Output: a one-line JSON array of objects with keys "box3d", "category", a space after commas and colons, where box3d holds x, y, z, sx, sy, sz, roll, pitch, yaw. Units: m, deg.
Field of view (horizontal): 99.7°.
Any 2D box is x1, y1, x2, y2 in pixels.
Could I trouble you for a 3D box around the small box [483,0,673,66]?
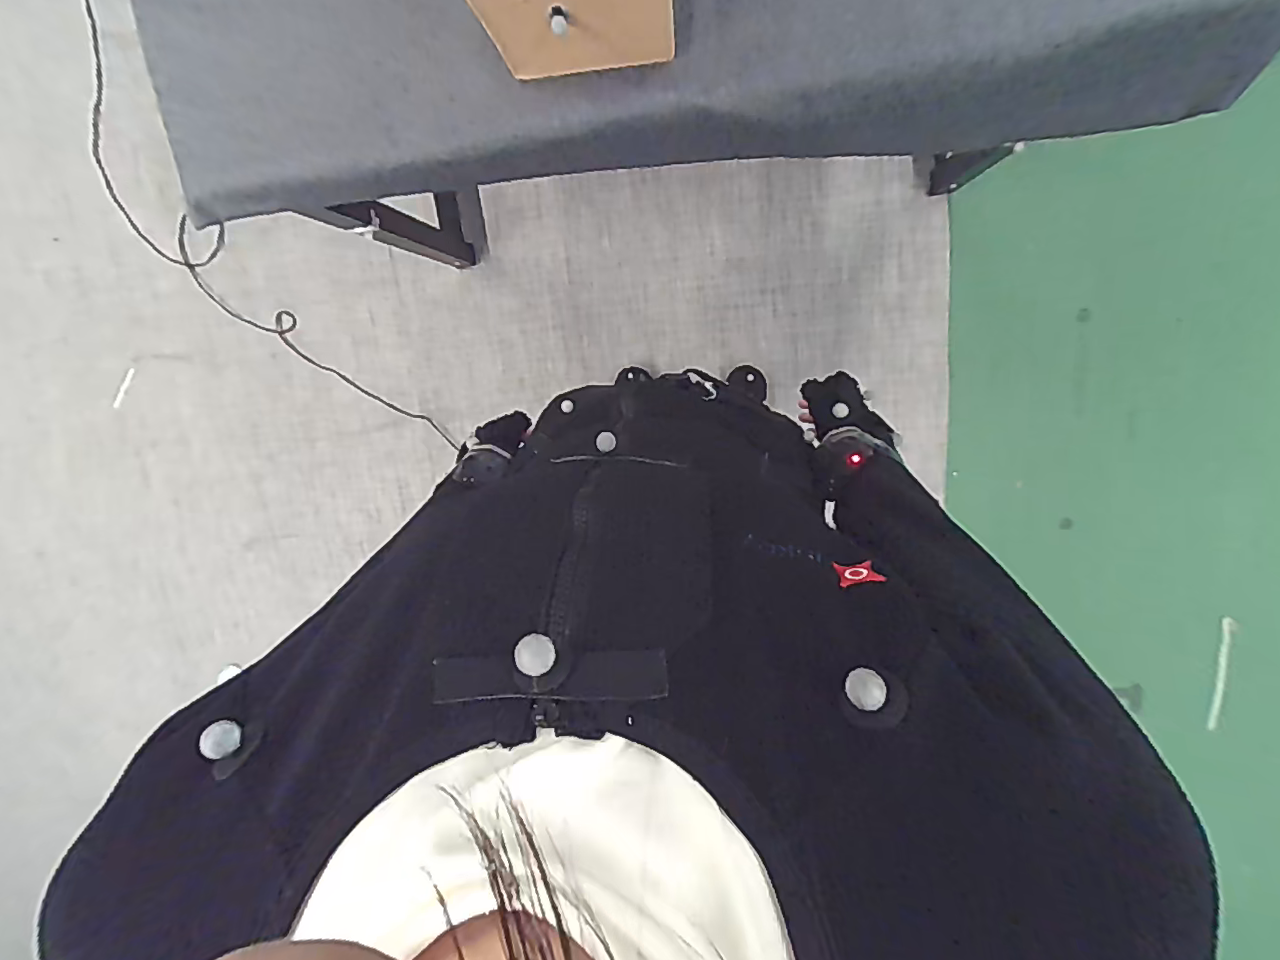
[{"box3d": [-0.064, -0.514, 0.490, 0.179, 0.176, 0.168, -1, 102, 7], "category": "small box"}]
